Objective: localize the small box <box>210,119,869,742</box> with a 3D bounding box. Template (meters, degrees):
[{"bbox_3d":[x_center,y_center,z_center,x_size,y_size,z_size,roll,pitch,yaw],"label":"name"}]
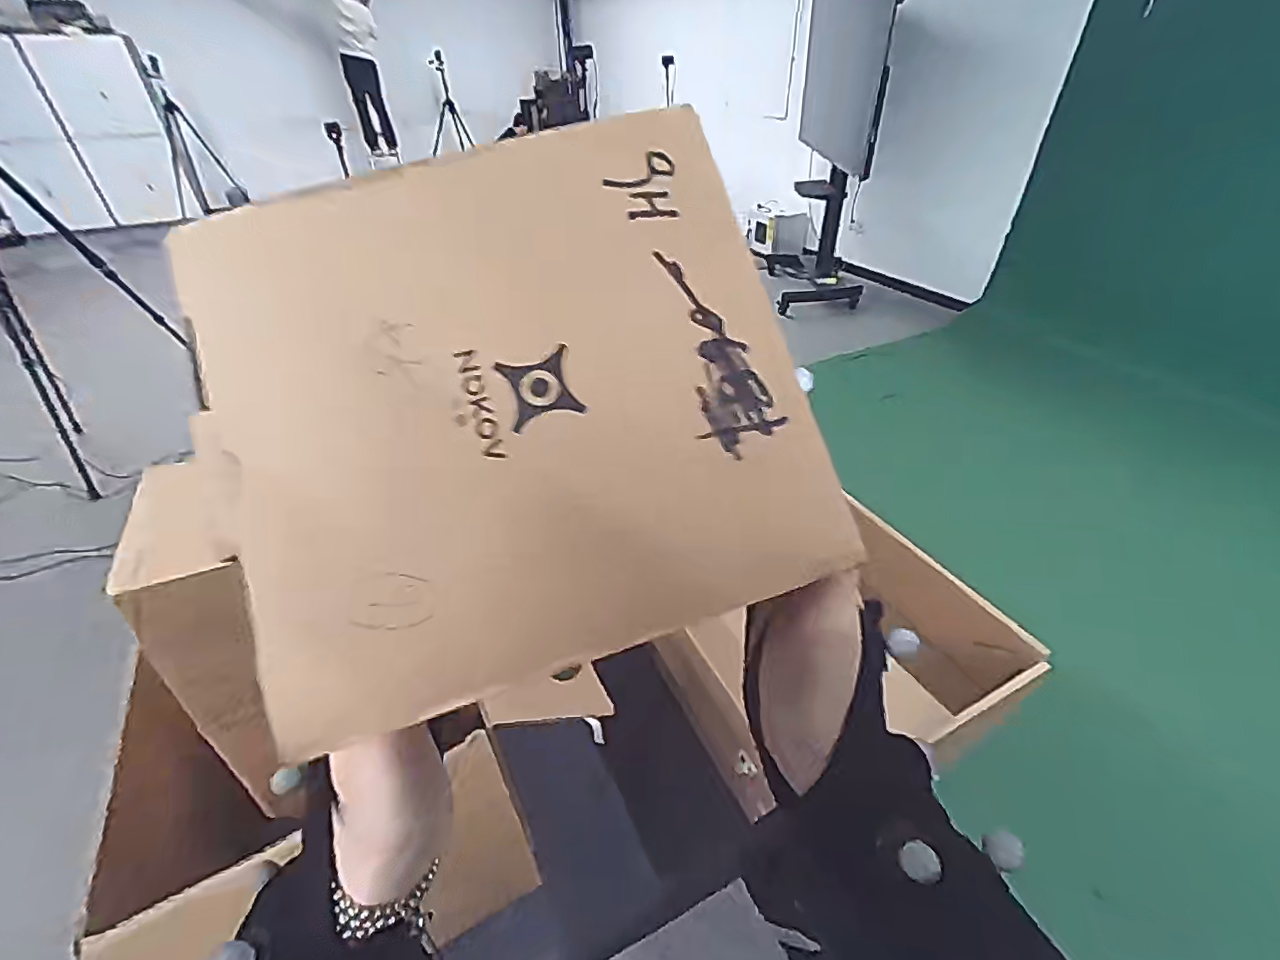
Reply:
[{"bbox_3d":[-0.037,-0.012,0.249,0.179,0.176,0.168,-18,82,-5],"label":"small box"}]

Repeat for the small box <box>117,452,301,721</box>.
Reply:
[{"bbox_3d":[-0.332,0.083,0.508,0.168,0.176,0.179,-16,39,-25],"label":"small box"}]
